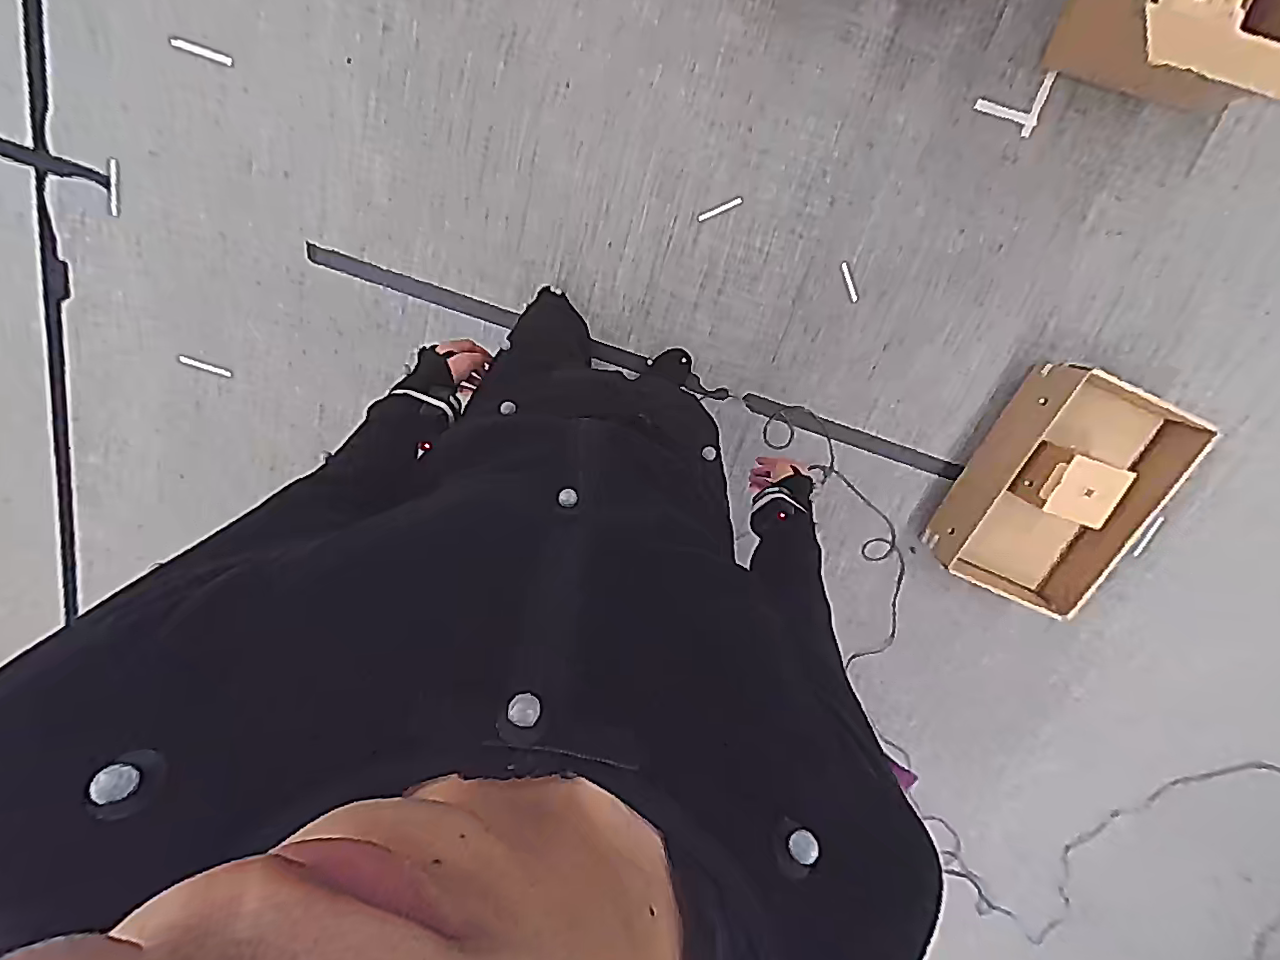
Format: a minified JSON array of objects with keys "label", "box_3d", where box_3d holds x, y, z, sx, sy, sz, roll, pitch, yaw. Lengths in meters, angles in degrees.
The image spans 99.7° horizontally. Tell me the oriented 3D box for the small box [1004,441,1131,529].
[{"label":"small box","box_3d":[1.145,0.005,1.467,0.179,0.176,0.168,18,110,-4]}]
